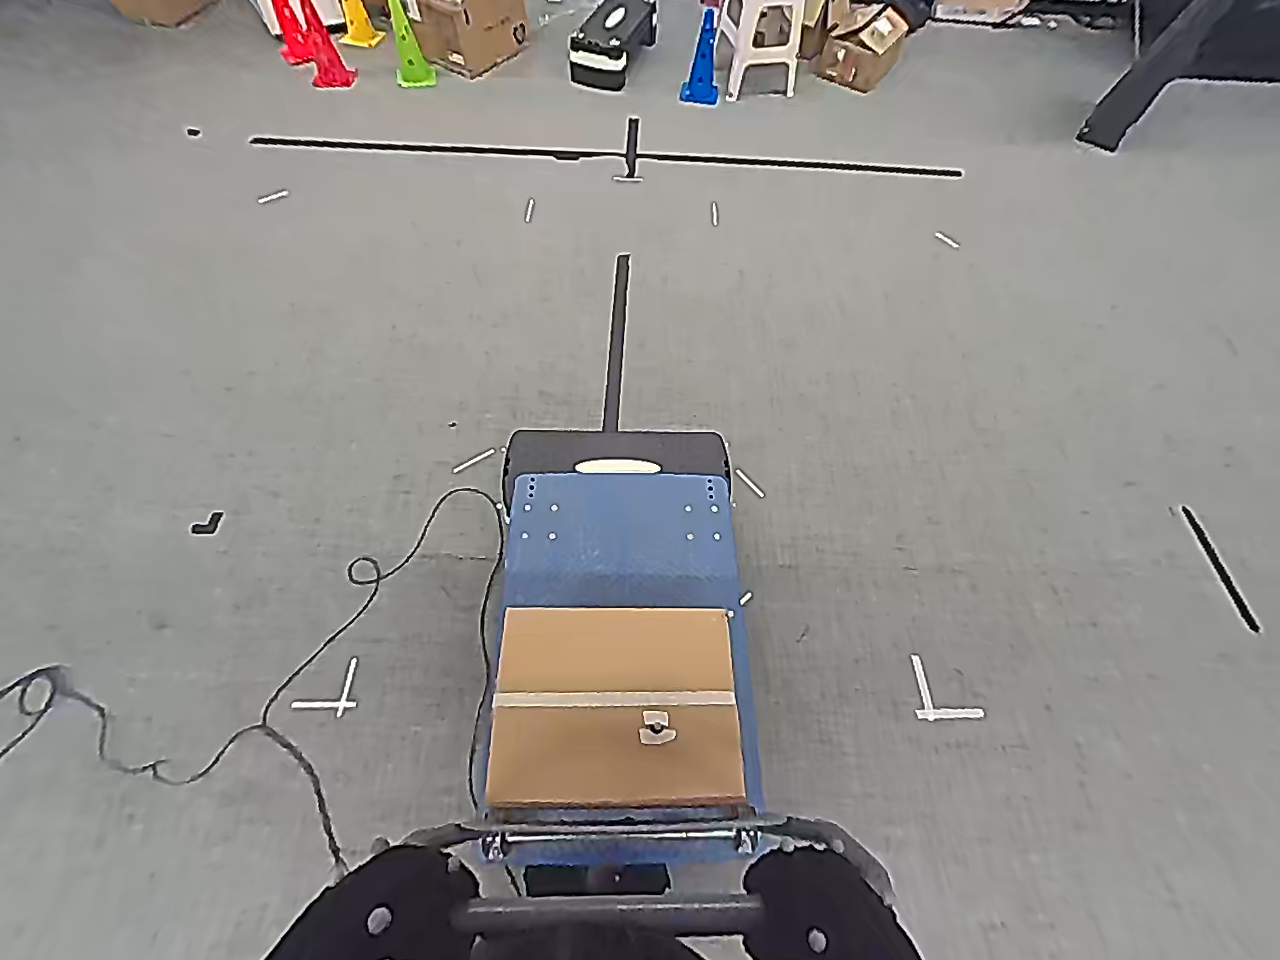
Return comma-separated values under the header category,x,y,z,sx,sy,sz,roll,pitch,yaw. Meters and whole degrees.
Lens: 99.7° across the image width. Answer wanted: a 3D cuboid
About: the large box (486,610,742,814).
category,x,y,z,sx,sy,sz,roll,pitch,yaw
large box,-0.051,0.447,1.030,0.408,0.320,0.320,1,60,-3
